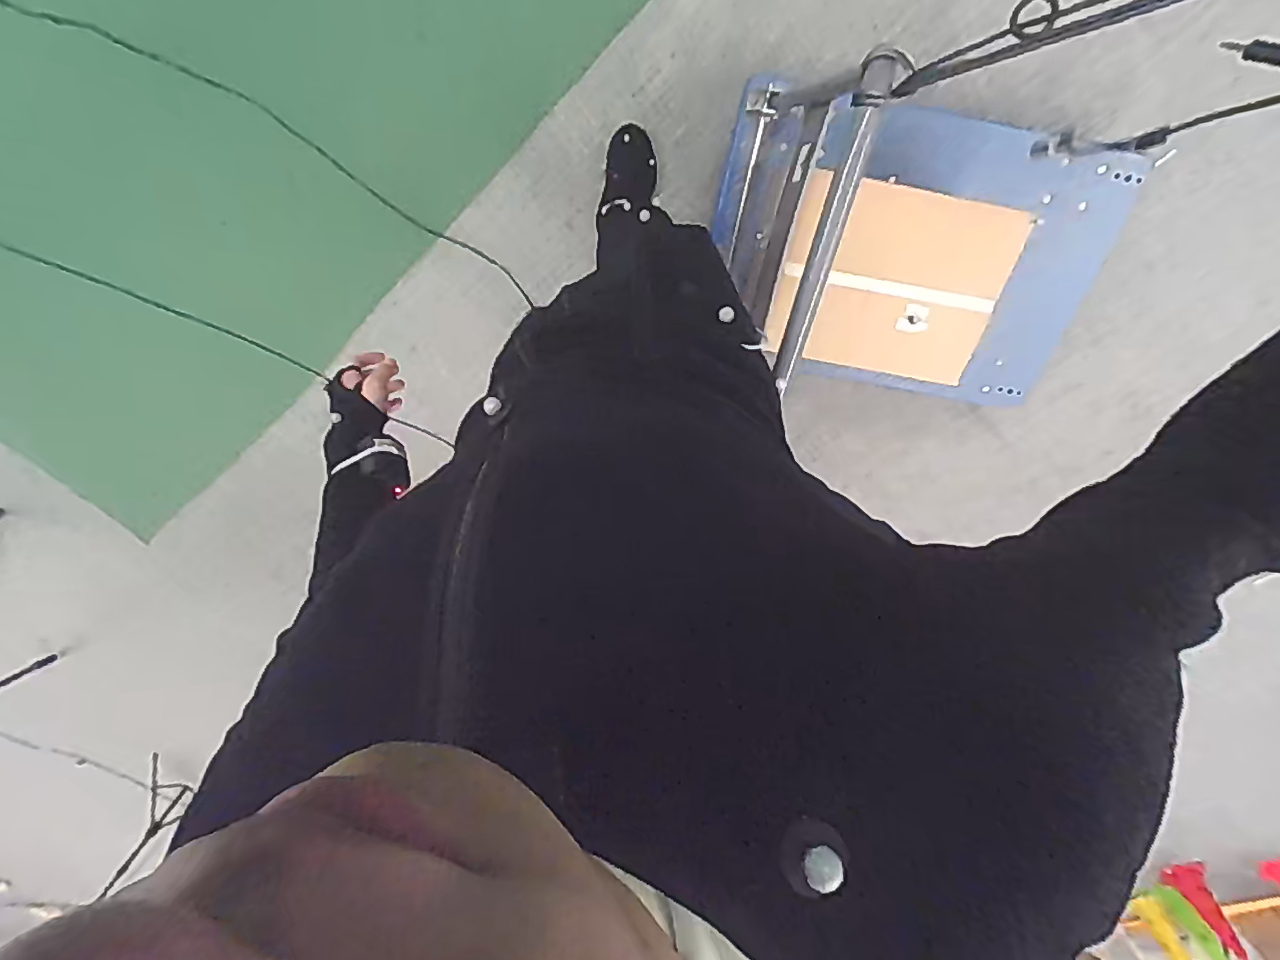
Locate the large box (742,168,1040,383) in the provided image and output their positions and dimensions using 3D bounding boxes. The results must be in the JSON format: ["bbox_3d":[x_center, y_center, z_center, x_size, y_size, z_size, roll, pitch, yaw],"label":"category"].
[{"bbox_3d":[0.455,-0.424,1.097,0.408,0.320,0.320,10,121,-4],"label":"large box"}]
